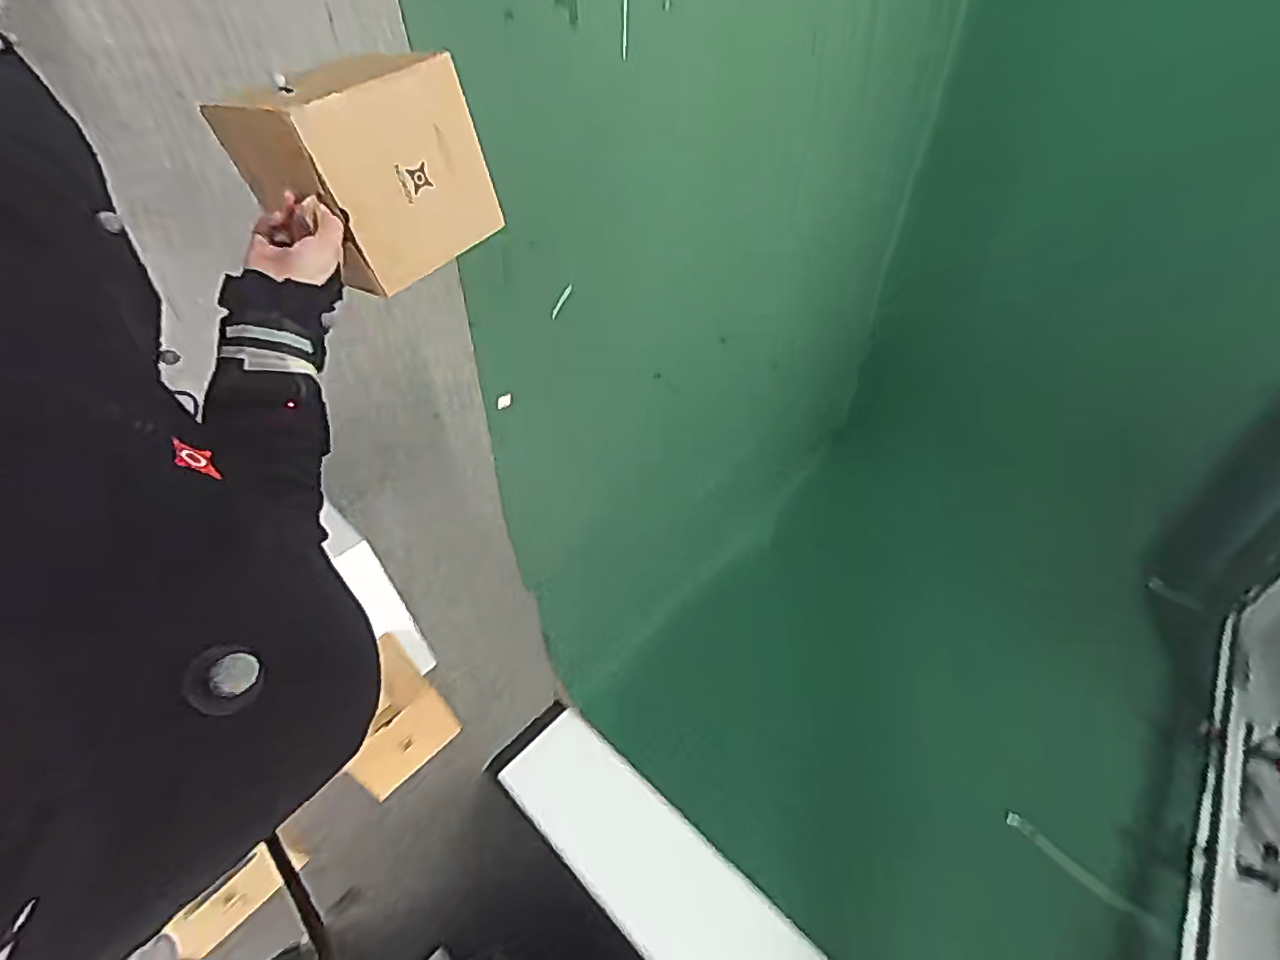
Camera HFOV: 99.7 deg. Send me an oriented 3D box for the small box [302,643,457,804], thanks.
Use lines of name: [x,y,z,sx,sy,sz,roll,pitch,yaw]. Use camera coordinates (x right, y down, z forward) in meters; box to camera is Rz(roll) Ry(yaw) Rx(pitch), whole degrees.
small box: [-0.466,0.431,0.976,0.168,0.176,0.179,-37,140,-31]

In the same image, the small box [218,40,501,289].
small box: [-0.284,-0.325,0.557,0.179,0.176,0.168,-52,149,-28]
